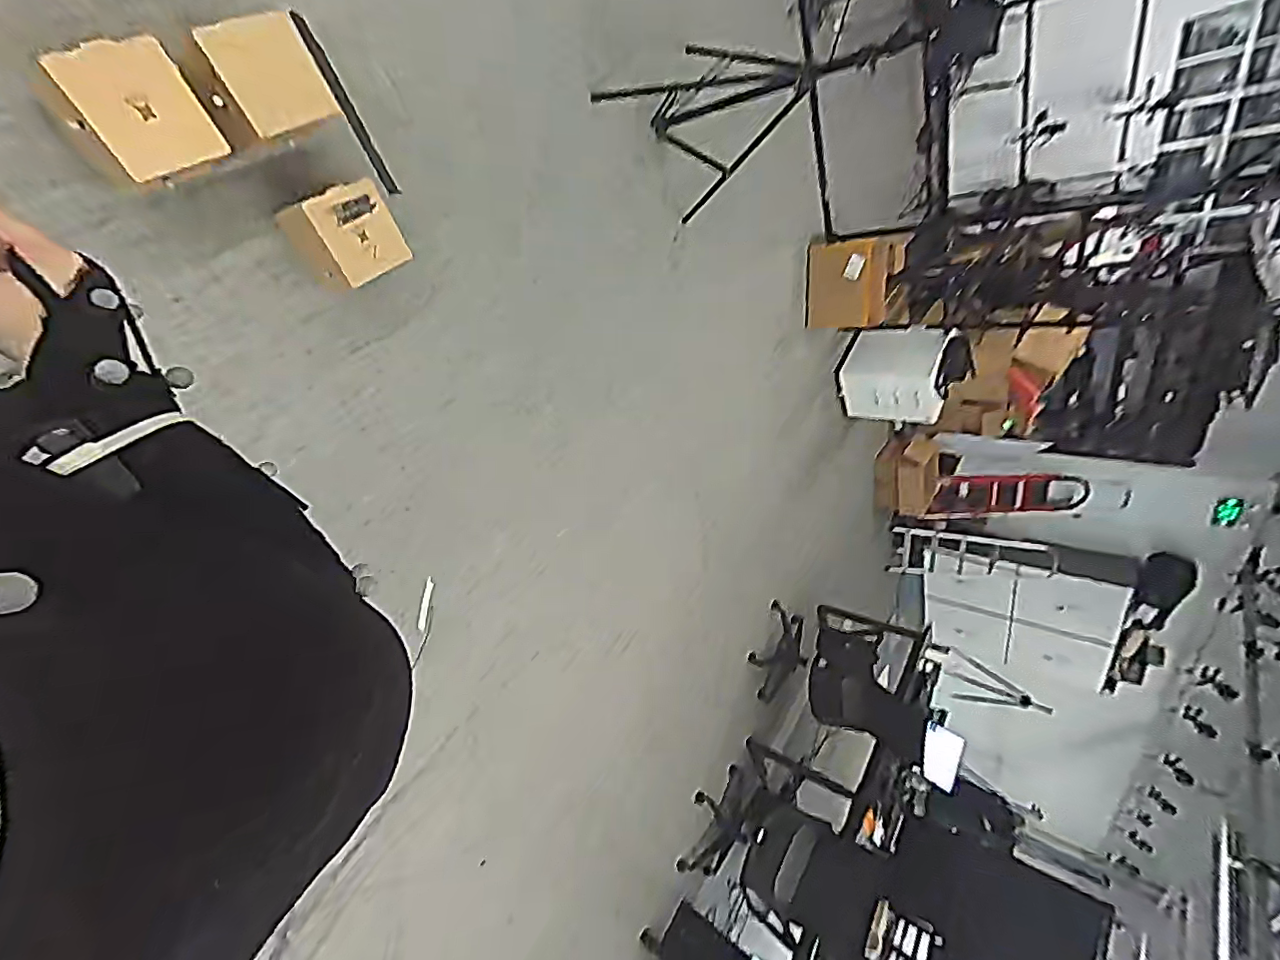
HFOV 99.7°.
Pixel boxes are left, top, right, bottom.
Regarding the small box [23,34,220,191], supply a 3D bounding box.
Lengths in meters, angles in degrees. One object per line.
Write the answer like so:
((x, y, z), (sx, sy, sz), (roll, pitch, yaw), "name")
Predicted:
((-0.879, -0.615, 0.923), (0.168, 0.176, 0.179), (-48, 132, -32), "small box")
